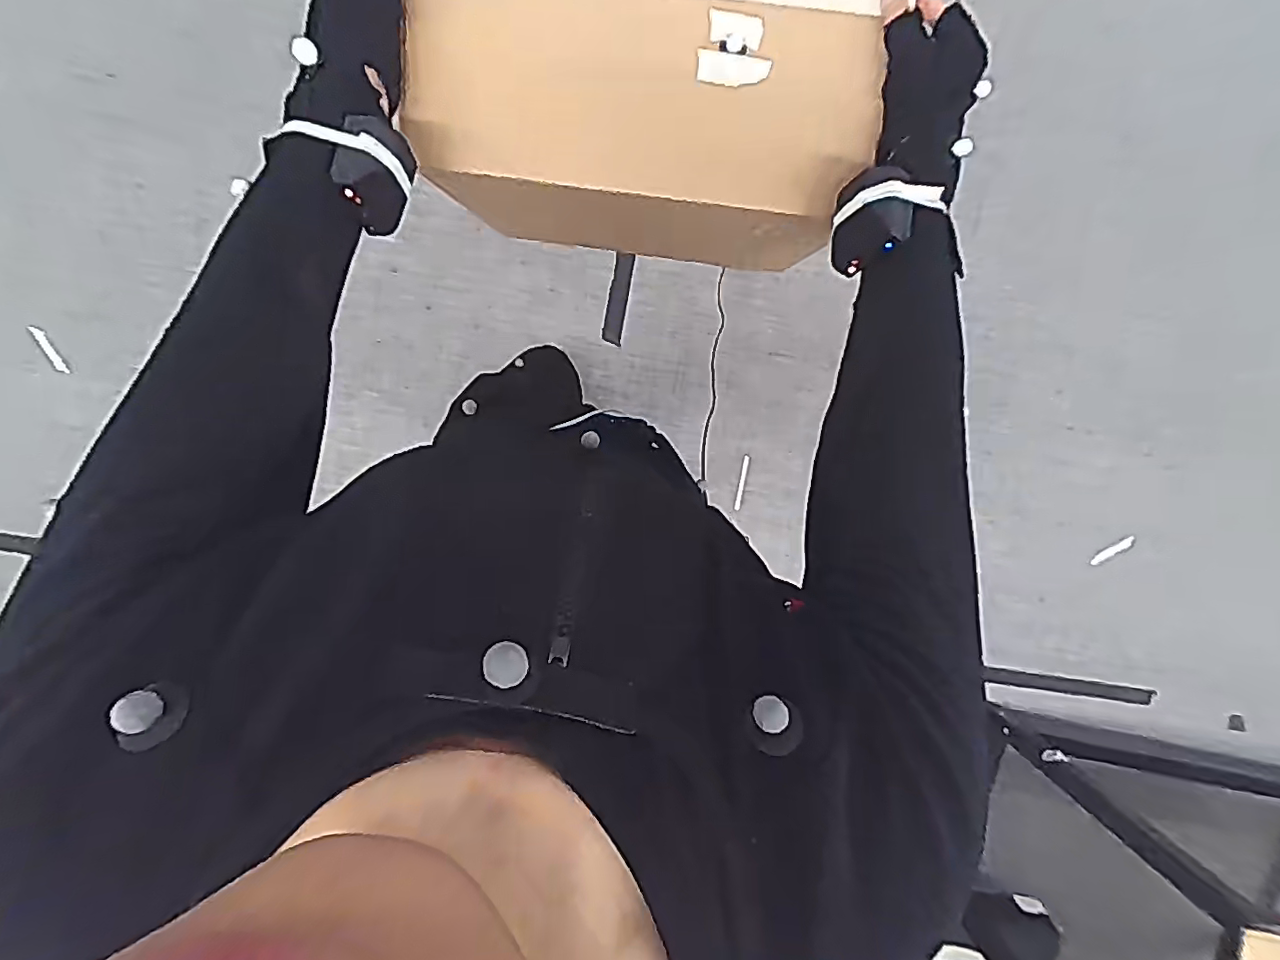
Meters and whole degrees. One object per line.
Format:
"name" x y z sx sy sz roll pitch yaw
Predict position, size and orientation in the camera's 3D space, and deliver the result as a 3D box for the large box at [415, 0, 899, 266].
"large box" 0.014 -0.436 0.587 0.408 0.320 0.320 6 104 -1
